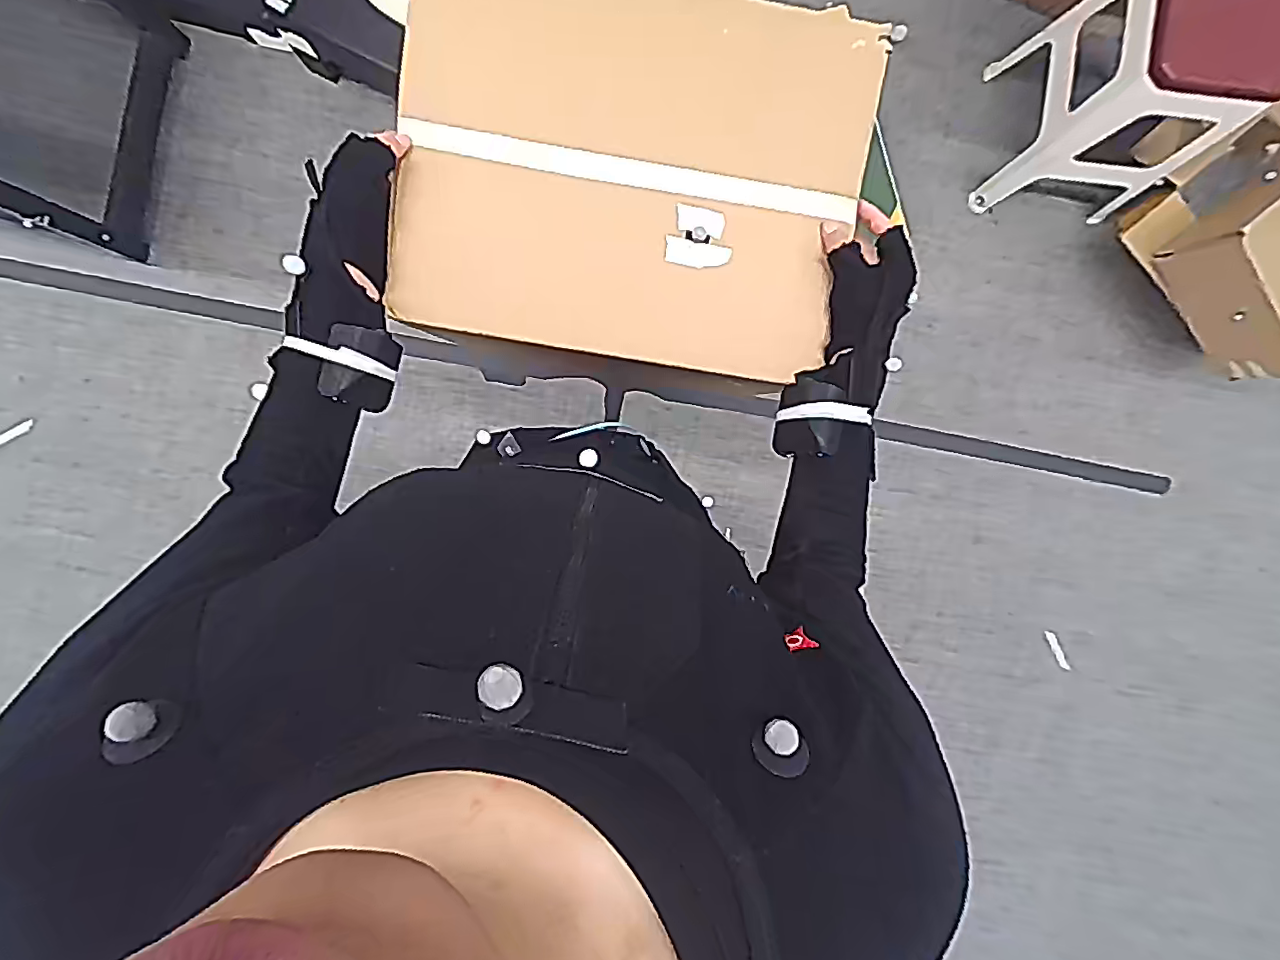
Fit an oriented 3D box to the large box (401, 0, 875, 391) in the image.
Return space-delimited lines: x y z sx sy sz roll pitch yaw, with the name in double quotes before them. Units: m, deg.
"large box" -0.013 -0.291 0.638 0.408 0.320 0.320 9 98 -4
